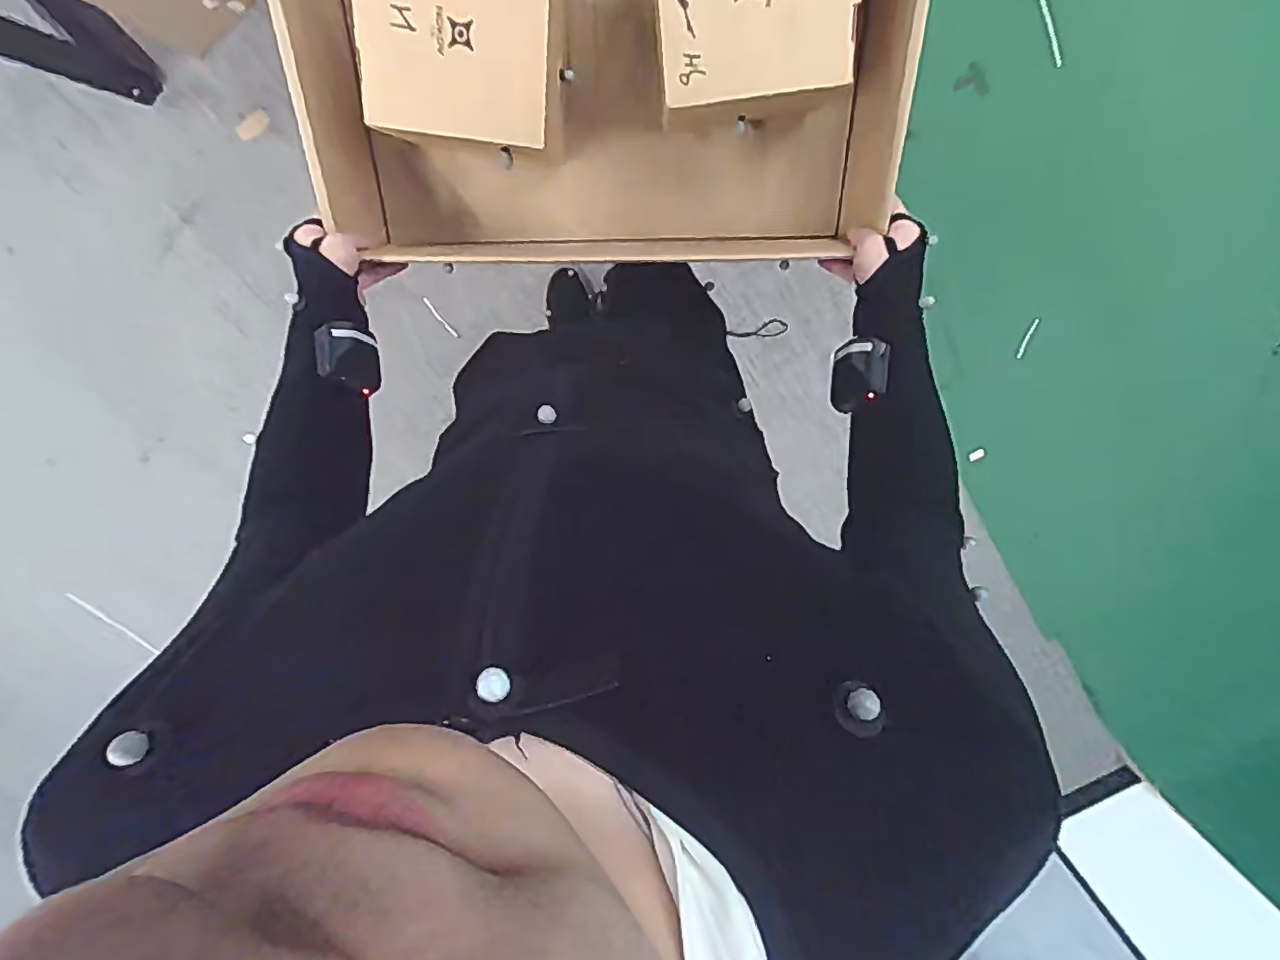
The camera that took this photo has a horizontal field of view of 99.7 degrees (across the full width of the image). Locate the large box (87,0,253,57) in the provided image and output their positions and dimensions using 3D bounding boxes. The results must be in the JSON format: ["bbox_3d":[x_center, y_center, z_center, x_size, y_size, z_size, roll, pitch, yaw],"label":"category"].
[{"bbox_3d":[-0.983,-1.125,0.995,0.320,0.320,0.408,-36,109,10],"label":"large box"}]
